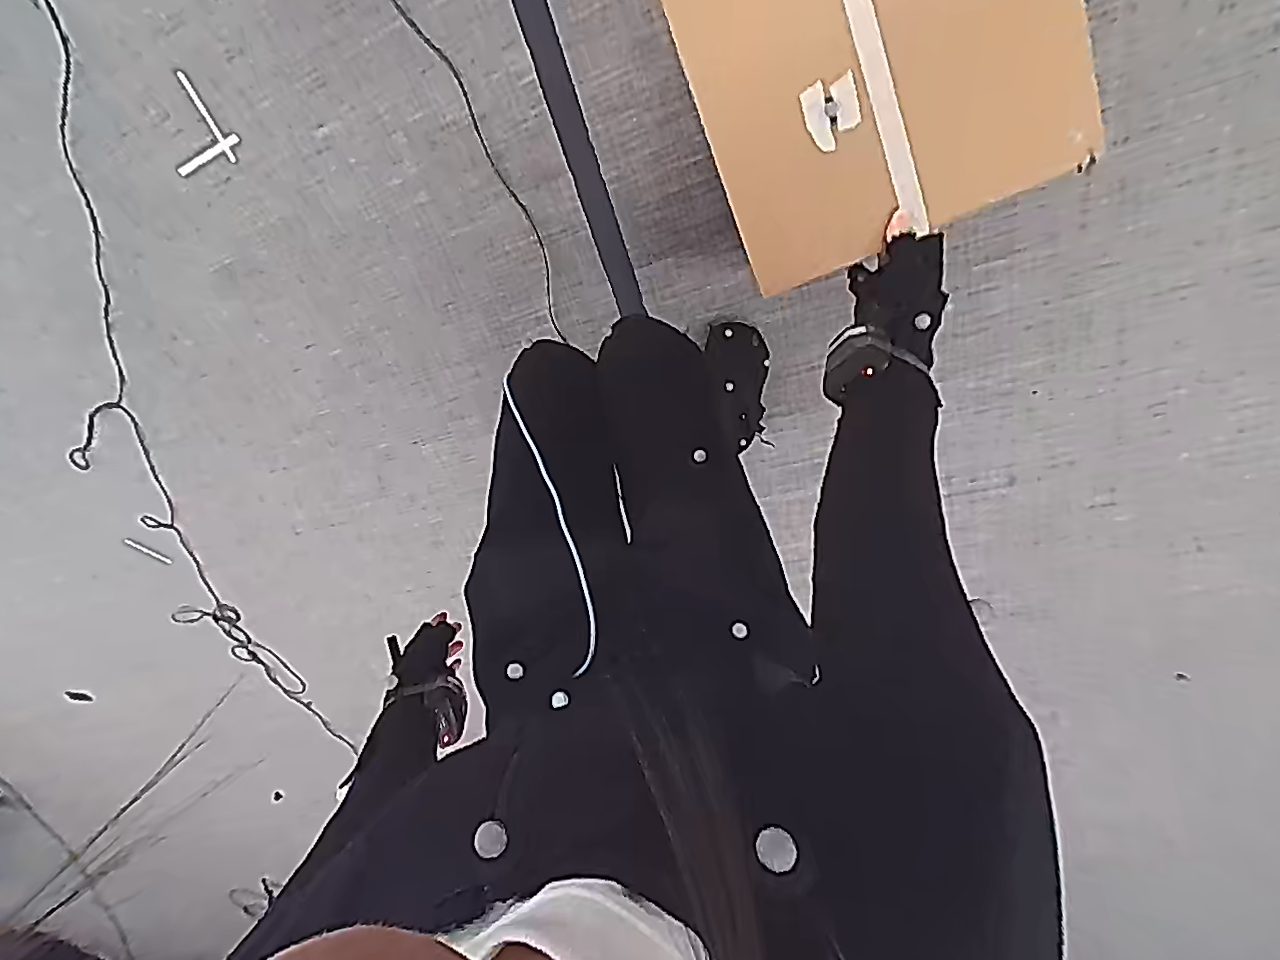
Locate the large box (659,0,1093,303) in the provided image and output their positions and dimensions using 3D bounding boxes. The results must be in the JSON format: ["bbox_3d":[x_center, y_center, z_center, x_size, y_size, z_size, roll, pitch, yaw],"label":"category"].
[{"bbox_3d":[0.235,-0.469,0.628,0.320,0.320,0.408,-18,107,21],"label":"large box"}]
